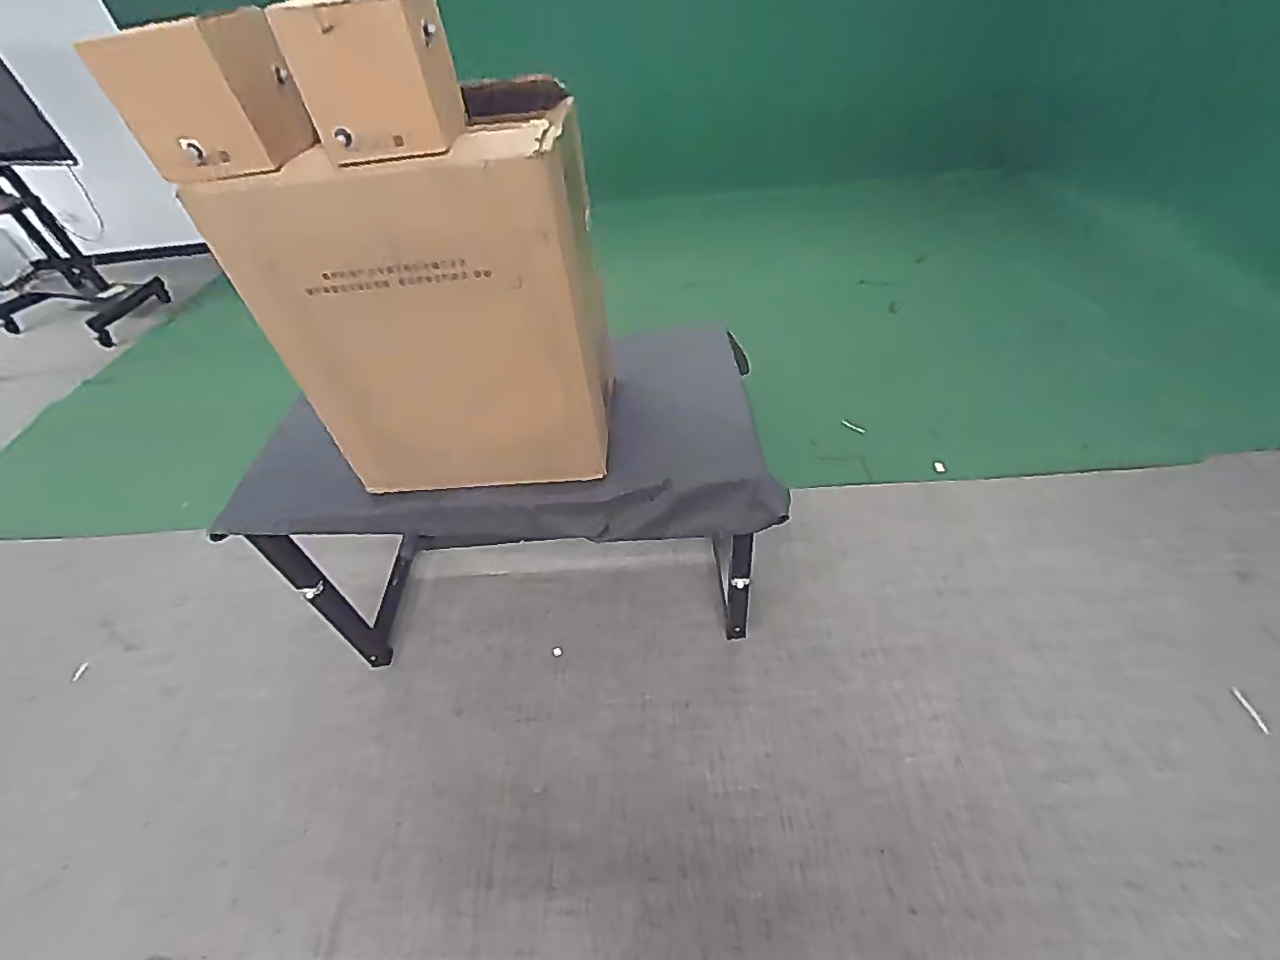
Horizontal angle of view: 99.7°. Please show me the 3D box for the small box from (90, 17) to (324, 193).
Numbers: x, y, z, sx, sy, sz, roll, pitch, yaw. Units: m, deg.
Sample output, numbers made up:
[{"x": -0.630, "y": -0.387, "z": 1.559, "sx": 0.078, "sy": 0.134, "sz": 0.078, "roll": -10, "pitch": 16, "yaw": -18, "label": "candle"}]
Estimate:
[{"x": -0.598, "y": -0.539, "z": 0.782, "sx": 0.168, "sy": 0.176, "sz": 0.179, "roll": -7, "pitch": 46, "yaw": 4, "label": "small box"}]

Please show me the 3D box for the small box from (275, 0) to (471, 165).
[{"x": -0.352, "y": -0.557, "z": 0.758, "sx": 0.168, "sy": 0.176, "sz": 0.179, "roll": -5, "pitch": 45, "yaw": 2, "label": "small box"}]
